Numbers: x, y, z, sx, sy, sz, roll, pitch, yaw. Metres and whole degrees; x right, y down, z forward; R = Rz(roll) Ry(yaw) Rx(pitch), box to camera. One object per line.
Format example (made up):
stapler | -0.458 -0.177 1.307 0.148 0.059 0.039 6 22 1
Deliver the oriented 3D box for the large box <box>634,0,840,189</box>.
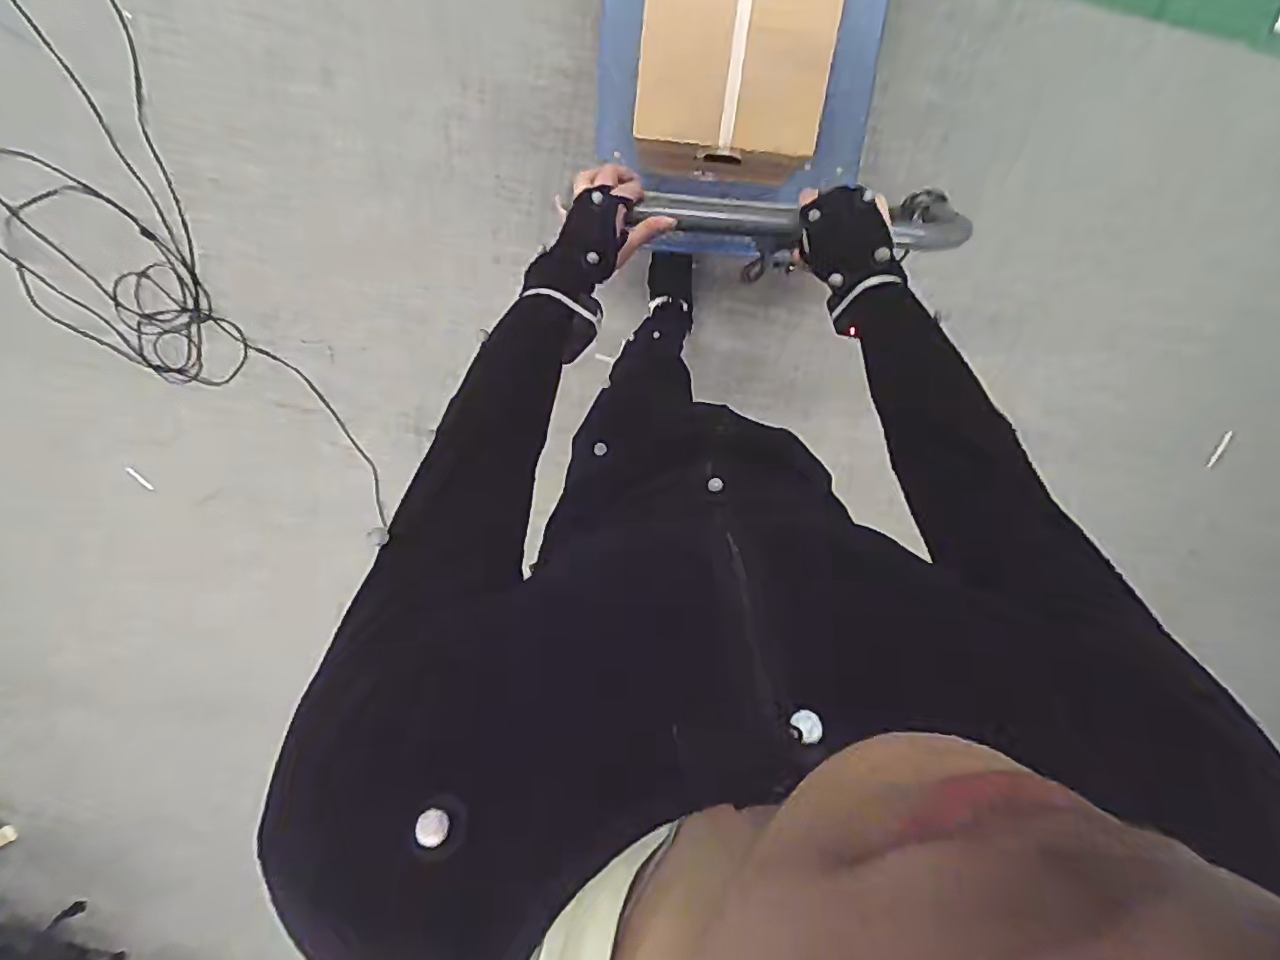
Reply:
large box | 0.171 -0.802 1.007 0.320 0.320 0.408 7 109 0
